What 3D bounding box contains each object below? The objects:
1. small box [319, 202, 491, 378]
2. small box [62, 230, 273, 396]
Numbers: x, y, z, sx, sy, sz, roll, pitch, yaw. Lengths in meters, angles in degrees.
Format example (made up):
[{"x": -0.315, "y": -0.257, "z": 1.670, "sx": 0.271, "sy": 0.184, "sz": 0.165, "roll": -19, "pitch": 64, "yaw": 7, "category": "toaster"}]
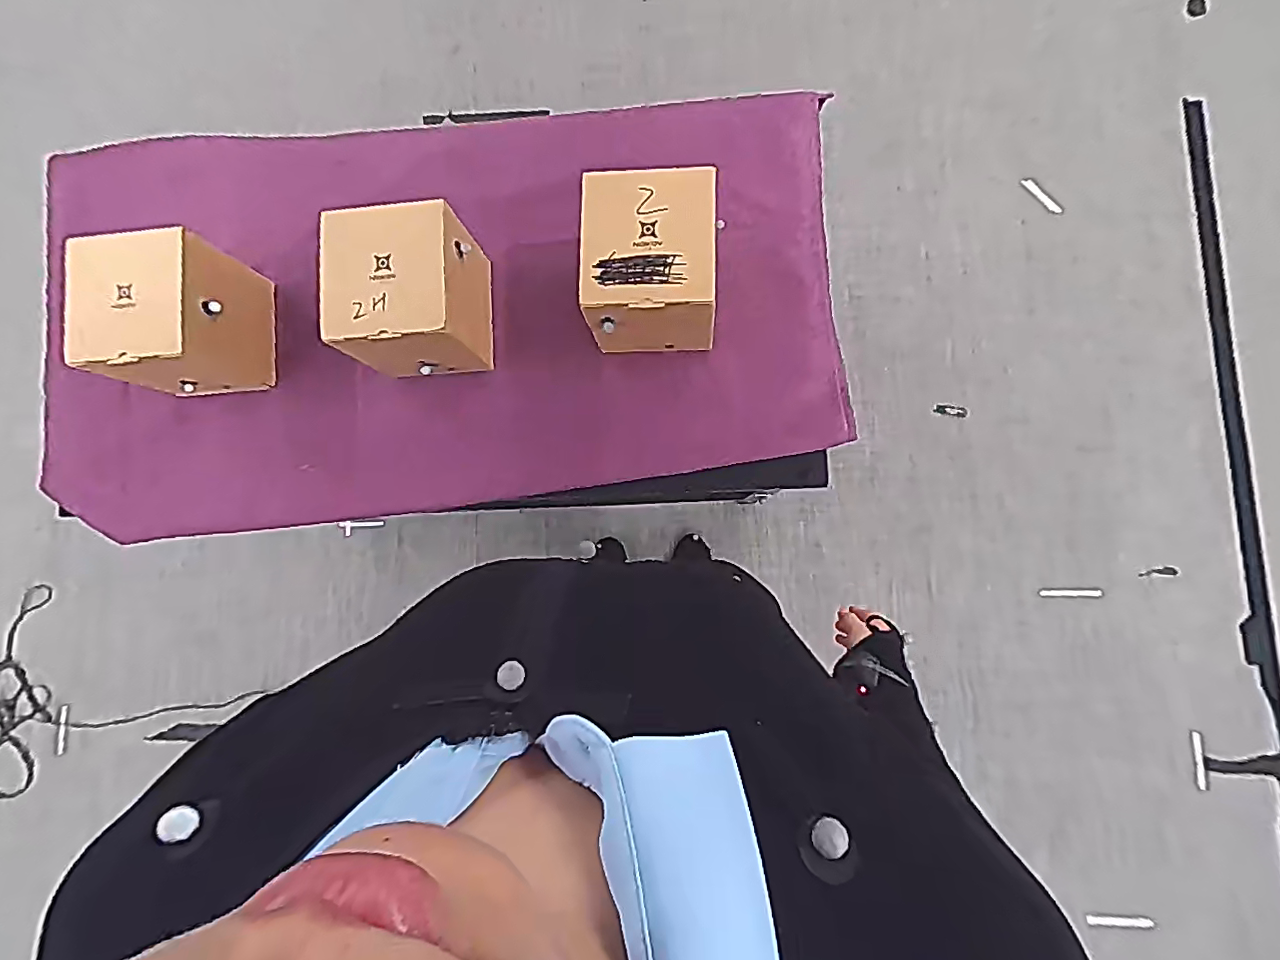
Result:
[{"x": -0.317, "y": -0.255, "z": 0.759, "sx": 0.168, "sy": 0.176, "sz": 0.179, "roll": -3, "pitch": 85, "yaw": 5, "category": "small box"}, {"x": -0.669, "y": -0.232, "z": 0.786, "sx": 0.168, "sy": 0.176, "sz": 0.179, "roll": -4, "pitch": 86, "yaw": 3, "category": "small box"}]
